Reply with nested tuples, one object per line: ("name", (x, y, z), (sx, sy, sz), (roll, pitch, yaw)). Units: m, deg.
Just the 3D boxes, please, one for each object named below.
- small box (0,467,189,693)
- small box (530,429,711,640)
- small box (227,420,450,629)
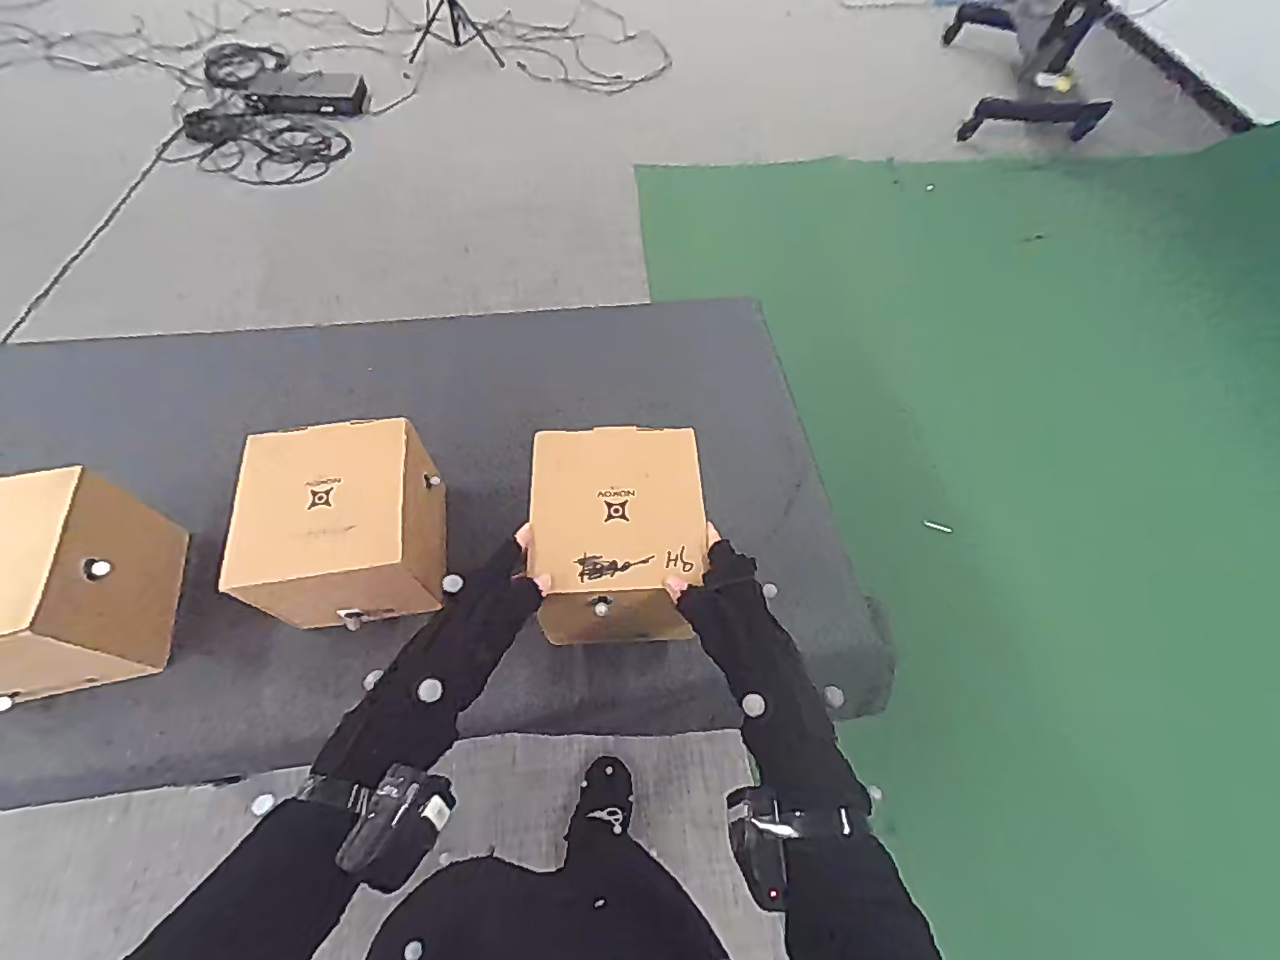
("small box", (-0.624, 0.114, 0.568), (0.168, 0.176, 0.179), (-10, 60, -10))
("small box", (-0.022, 0.063, 0.593), (0.168, 0.176, 0.179), (-3, 59, -2))
("small box", (-0.325, 0.056, 0.624), (0.168, 0.176, 0.179), (-8, 63, -7))
